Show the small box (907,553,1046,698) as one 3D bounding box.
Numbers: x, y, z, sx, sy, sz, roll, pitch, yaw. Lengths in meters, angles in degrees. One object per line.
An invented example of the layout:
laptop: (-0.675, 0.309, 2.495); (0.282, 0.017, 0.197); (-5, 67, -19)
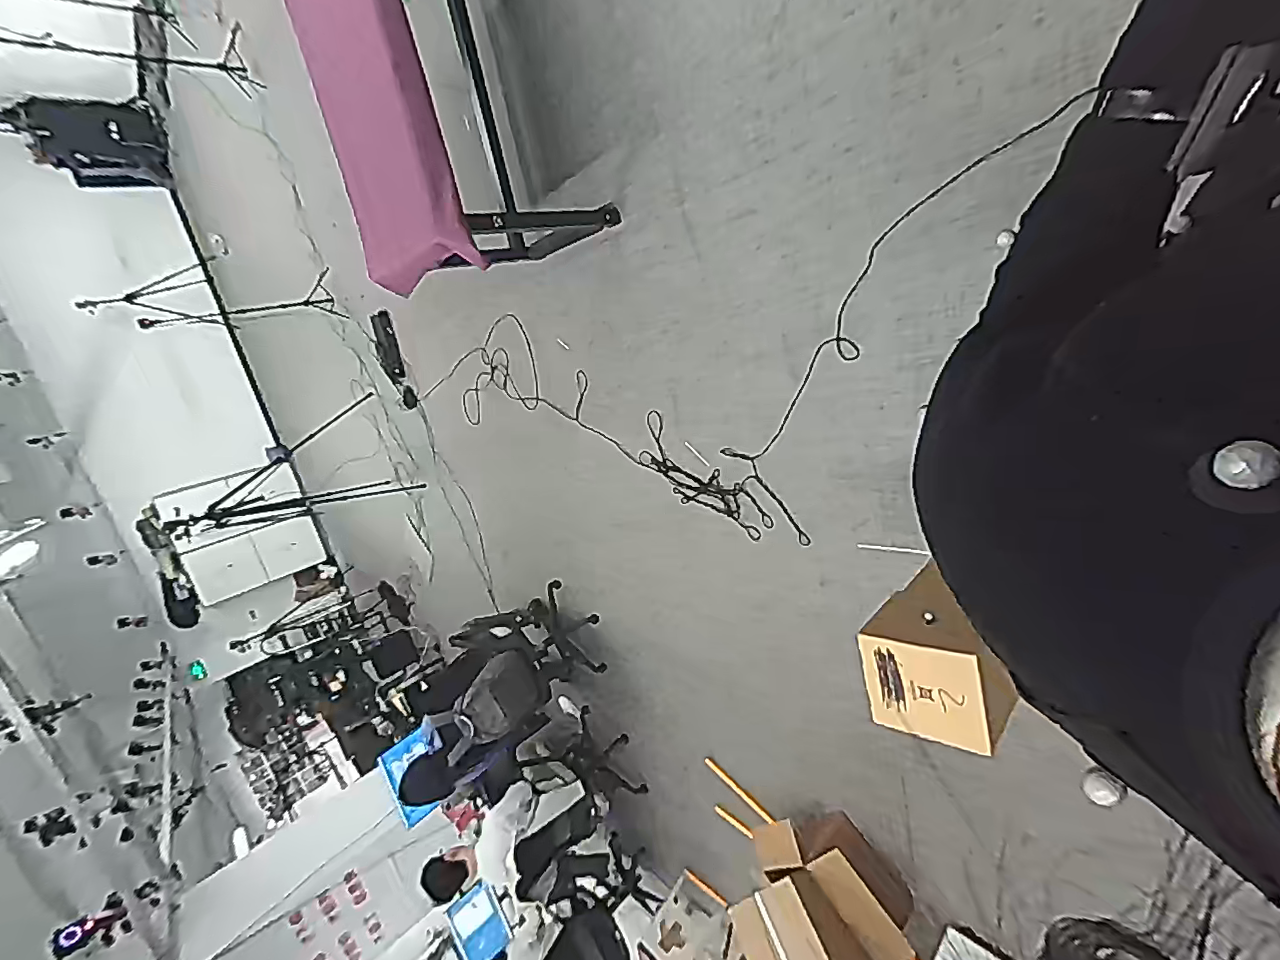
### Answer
small box: (0.609, 0.251, 0.973); (0.168, 0.176, 0.179); (-1, 107, 49)
